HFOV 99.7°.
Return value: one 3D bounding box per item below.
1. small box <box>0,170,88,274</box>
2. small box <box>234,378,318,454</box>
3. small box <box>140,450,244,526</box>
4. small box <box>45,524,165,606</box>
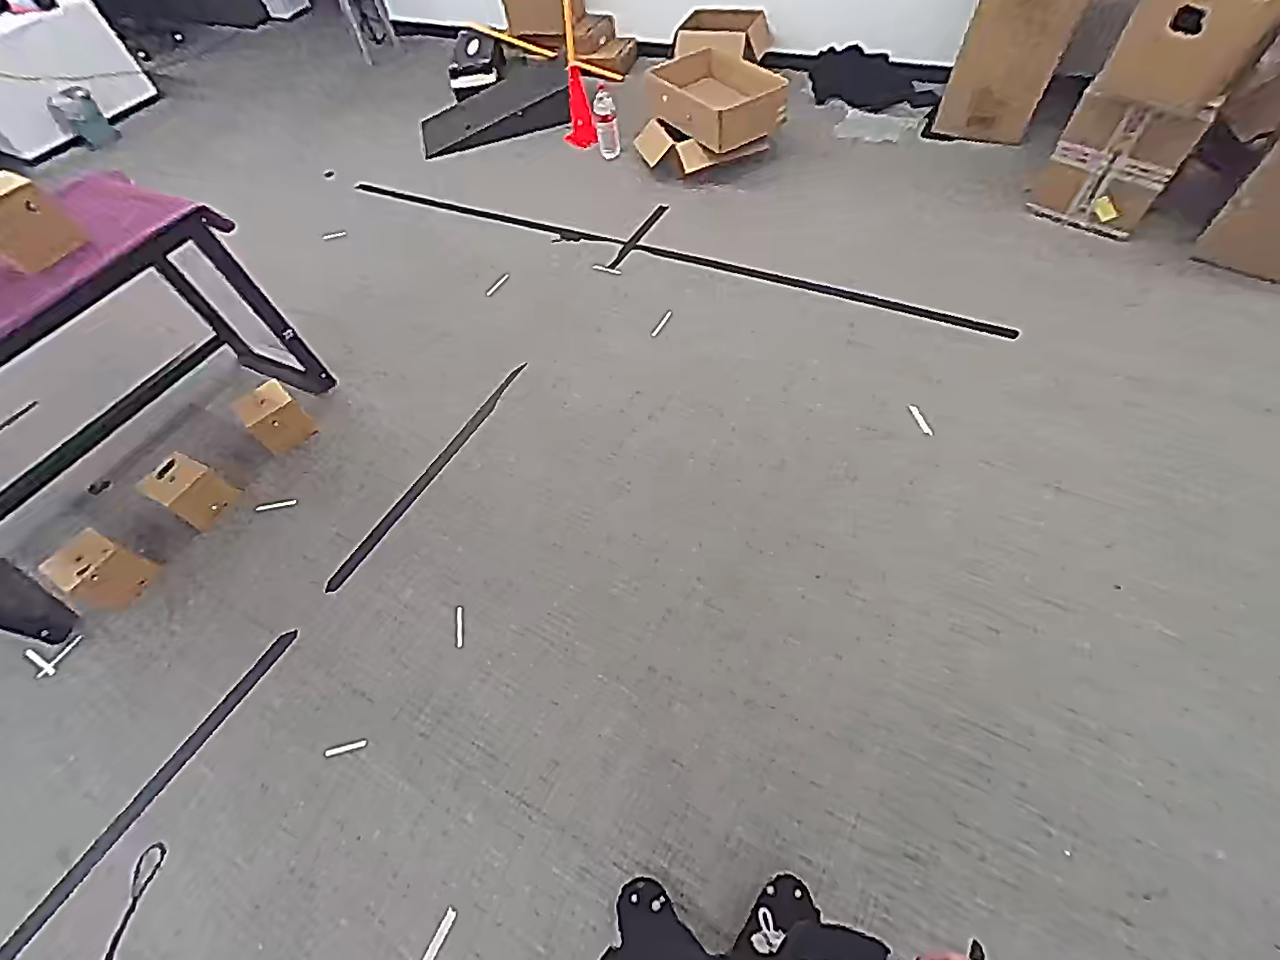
[{"bbox_3d":[-1.640,-0.685,1.437,0.168,0.176,0.179,23,63,22],"label":"small box"},{"bbox_3d":[-1.321,-0.233,1.979,0.179,0.176,0.168,-42,62,-18],"label":"small box"},{"bbox_3d":[-1.505,0.032,1.826,0.179,0.176,0.168,22,62,19],"label":"small box"},{"bbox_3d":[-1.664,0.271,1.690,0.179,0.176,0.168,22,62,21],"label":"small box"}]
